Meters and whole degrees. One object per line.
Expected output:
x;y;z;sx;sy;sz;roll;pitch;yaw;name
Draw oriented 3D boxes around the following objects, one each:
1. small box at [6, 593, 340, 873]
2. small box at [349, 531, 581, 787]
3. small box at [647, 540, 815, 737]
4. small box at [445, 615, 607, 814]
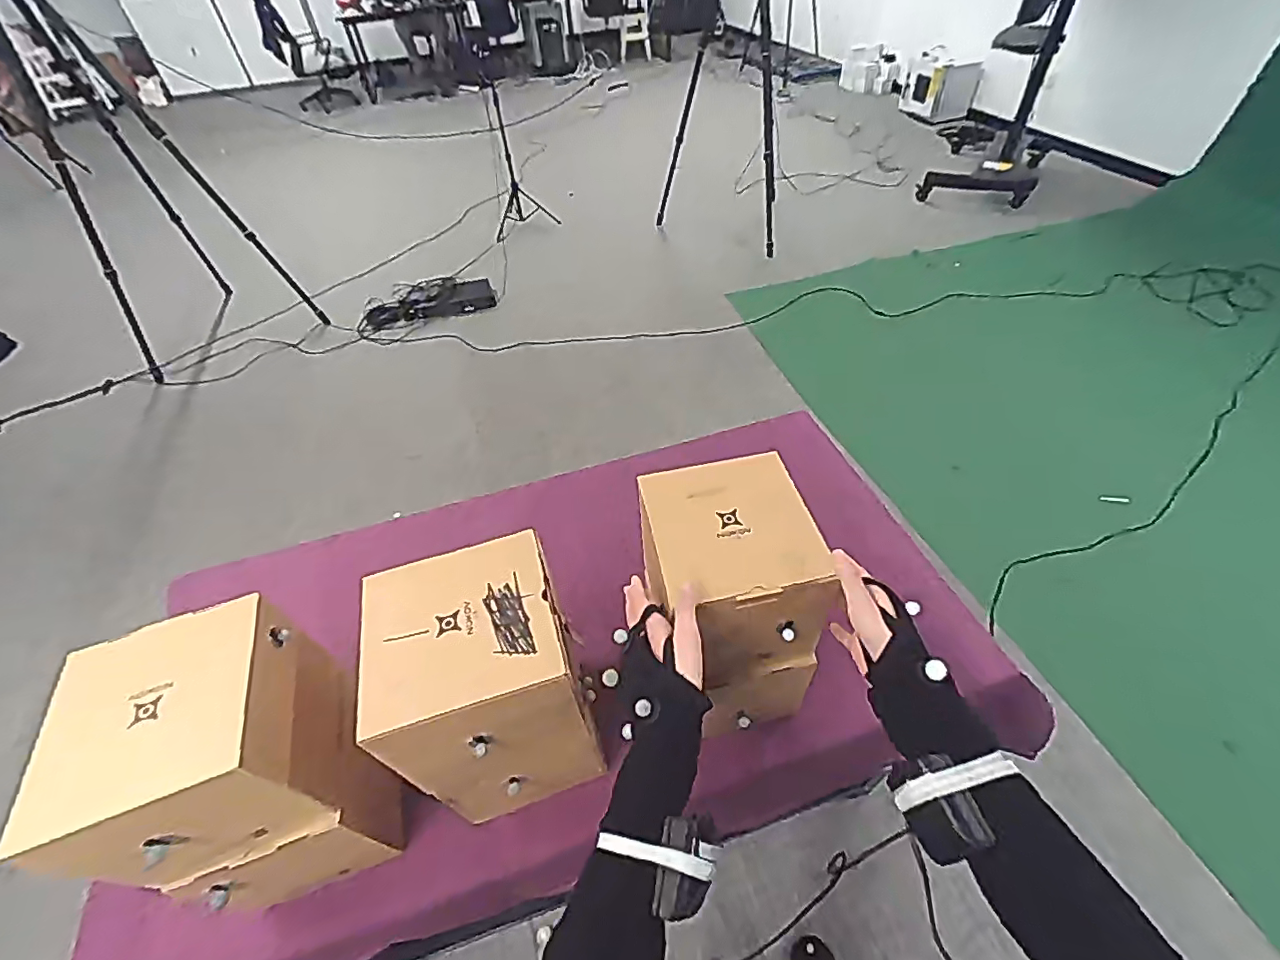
-0.413;0.248;0.523;0.168;0.176;0.179;-19;48;-11;small box
-0.164;0.184;0.553;0.179;0.176;0.168;-16;47;-7;small box
0.110;0.212;0.722;0.168;0.176;0.179;-13;48;-5;small box
-0.153;0.290;0.680;0.179;0.176;0.168;-17;49;-10;small box
